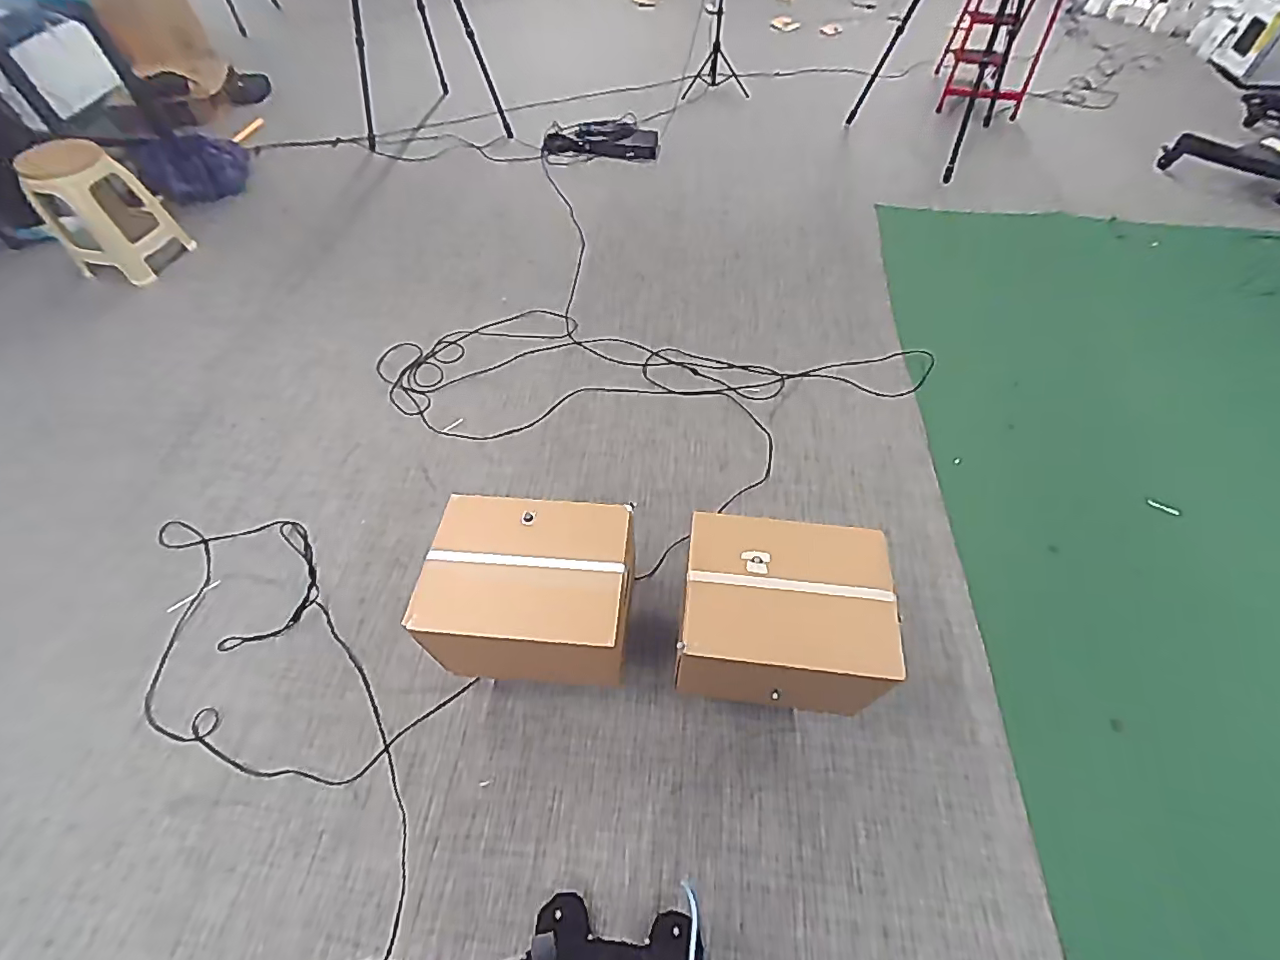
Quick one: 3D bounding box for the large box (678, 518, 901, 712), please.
[{"bbox_3d":[0.302,0.308,1.204,0.408,0.320,0.320,6,55,5],"label":"large box"}]
